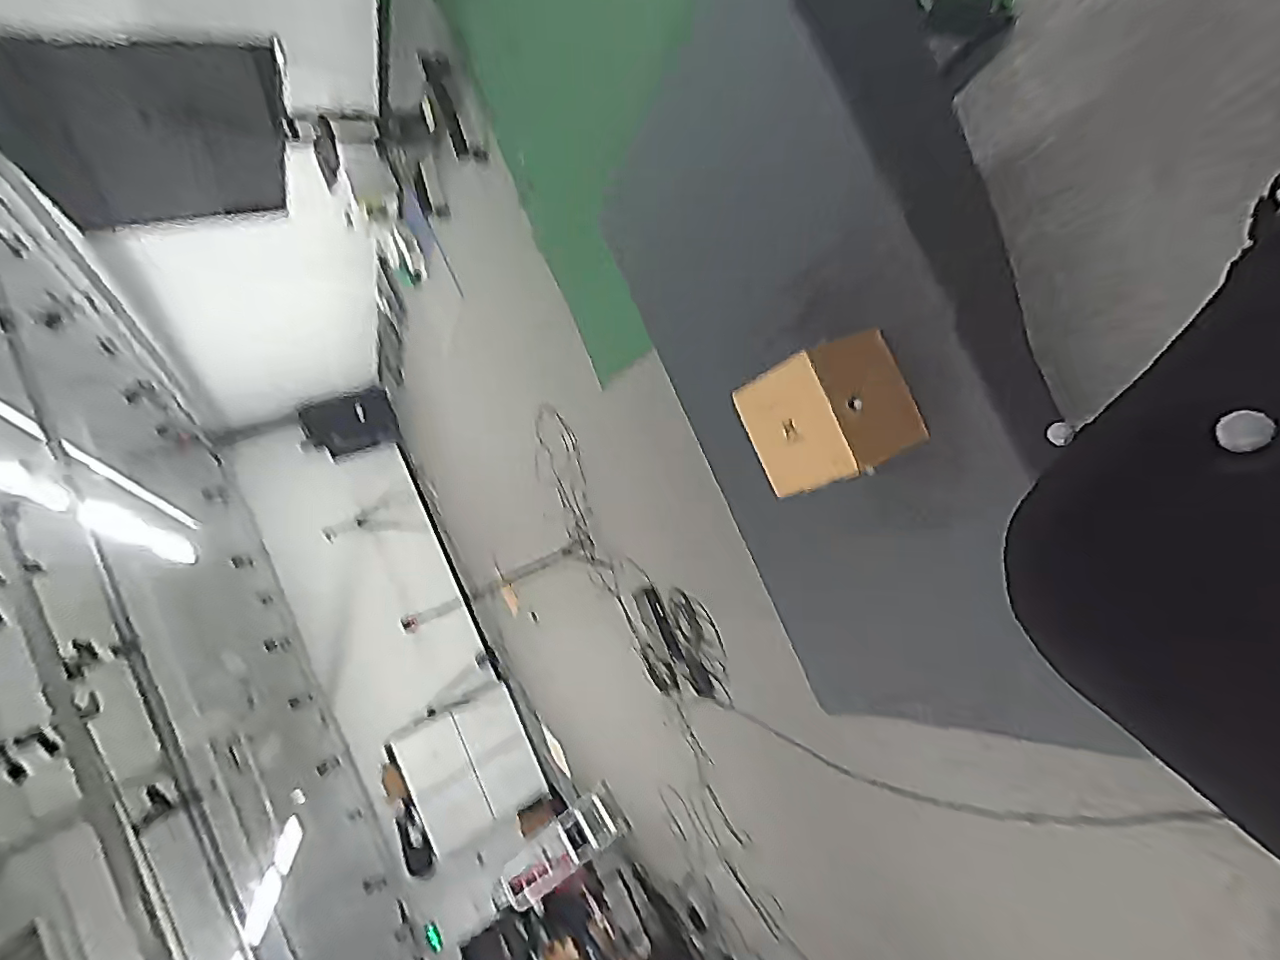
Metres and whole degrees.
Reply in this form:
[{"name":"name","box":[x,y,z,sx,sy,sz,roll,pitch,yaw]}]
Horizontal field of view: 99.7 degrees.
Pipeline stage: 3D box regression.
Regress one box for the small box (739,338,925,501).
[{"name":"small box","box":[0.290,-0.090,0.818,0.168,0.176,0.179,-31,82,60]}]
